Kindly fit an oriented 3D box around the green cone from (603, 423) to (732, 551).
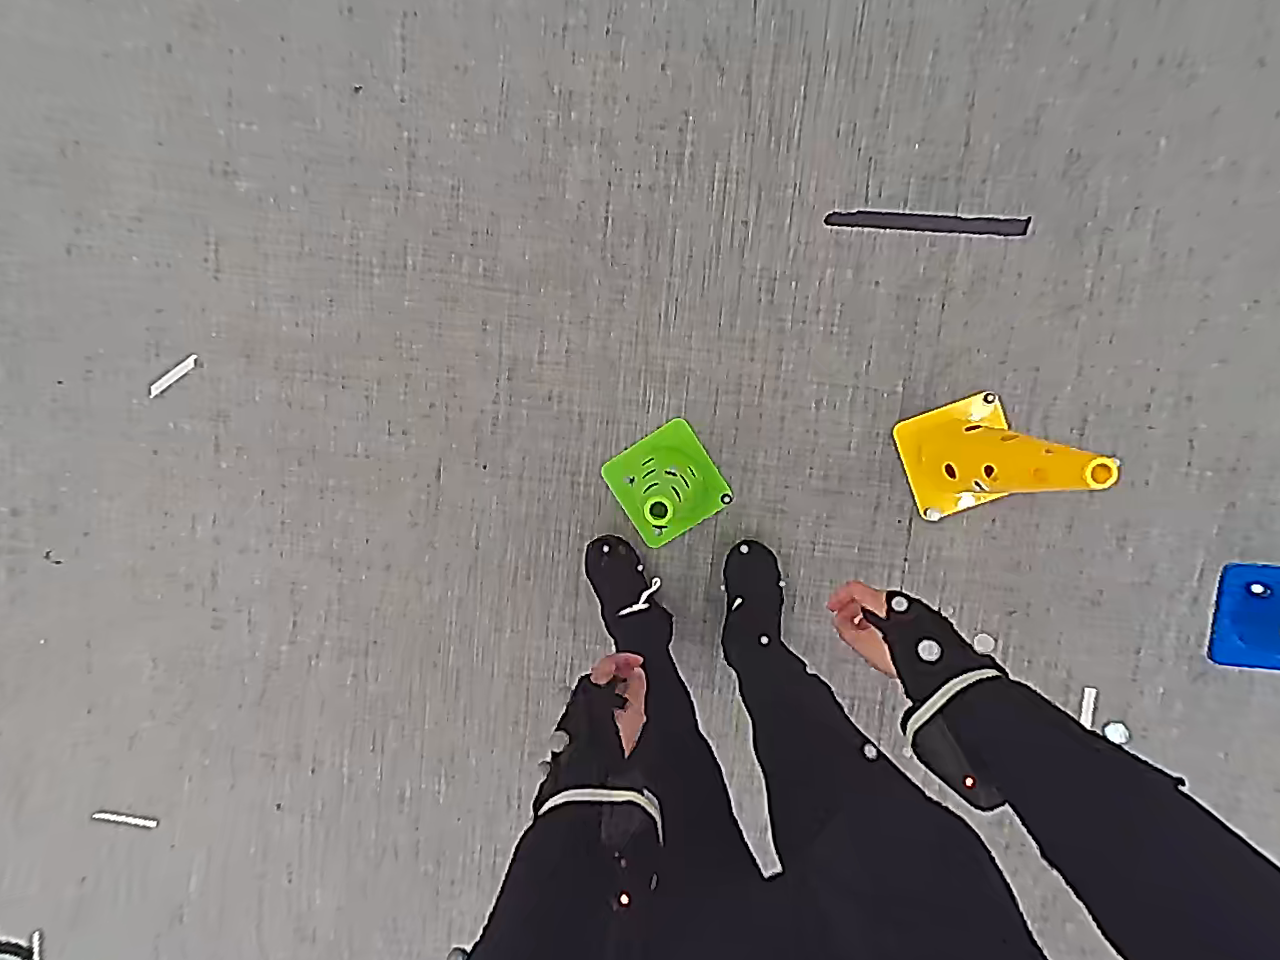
[{"bbox_3d":[0.037,0.029,0.892,0.202,0.368,0.200,-34,91,7],"label":"green cone"}]
